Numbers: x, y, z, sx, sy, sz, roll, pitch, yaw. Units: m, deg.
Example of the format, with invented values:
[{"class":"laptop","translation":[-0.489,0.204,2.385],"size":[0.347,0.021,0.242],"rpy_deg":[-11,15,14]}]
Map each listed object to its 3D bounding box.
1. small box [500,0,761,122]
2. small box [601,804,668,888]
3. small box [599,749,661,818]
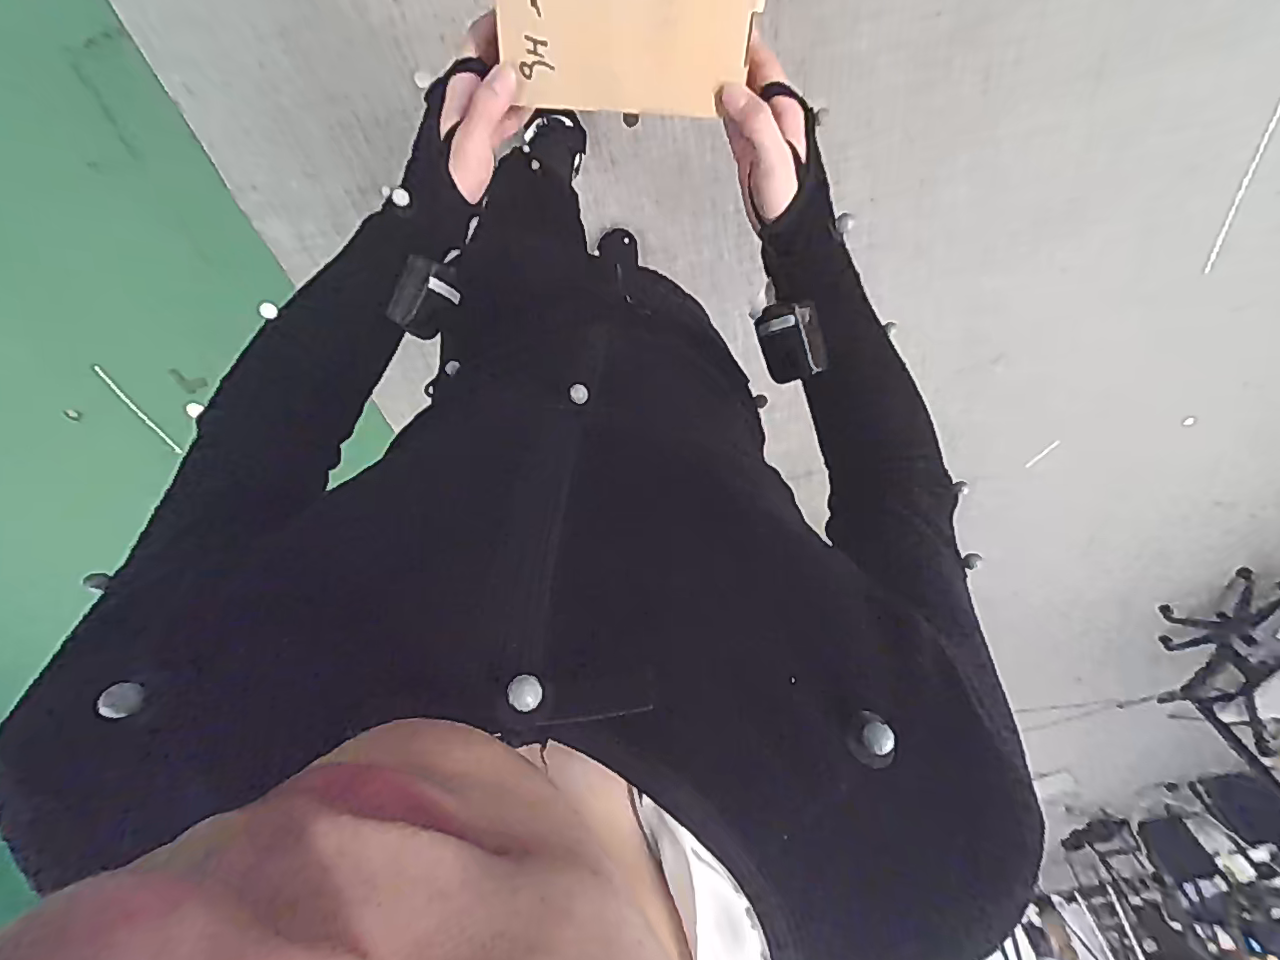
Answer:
[{"class":"small box","translation":[-0.004,-0.384,0.406],"size":[0.179,0.176,0.168],"rpy_deg":[4,128,-2]},{"class":"small box","translation":[-0.019,1.089,1.616],"size":[0.179,0.176,0.168],"rpy_deg":[-8,131,1]},{"class":"small box","translation":[-0.034,0.985,1.740],"size":[0.179,0.176,0.168],"rpy_deg":[-7,131,1]}]
